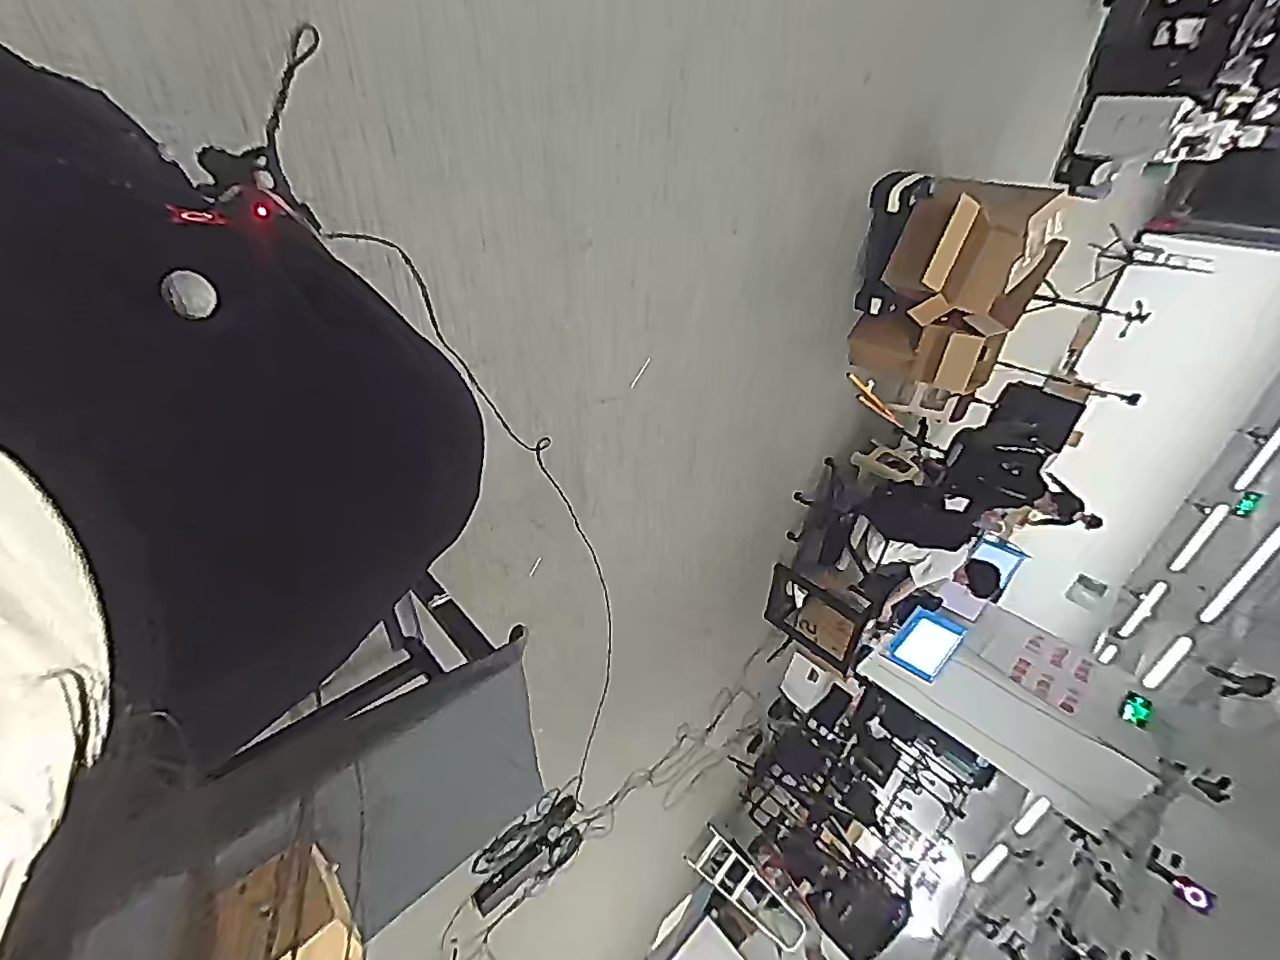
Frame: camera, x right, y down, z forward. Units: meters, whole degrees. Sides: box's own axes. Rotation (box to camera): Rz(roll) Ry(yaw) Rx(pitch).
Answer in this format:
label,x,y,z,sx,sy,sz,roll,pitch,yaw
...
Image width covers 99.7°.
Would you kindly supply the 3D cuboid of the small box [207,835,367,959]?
label,x,y,z,sx,sy,sz,roll,pitch,yaw
small box,-0.609,0.765,0.936,0.168,0.176,0.179,-28,134,-35
